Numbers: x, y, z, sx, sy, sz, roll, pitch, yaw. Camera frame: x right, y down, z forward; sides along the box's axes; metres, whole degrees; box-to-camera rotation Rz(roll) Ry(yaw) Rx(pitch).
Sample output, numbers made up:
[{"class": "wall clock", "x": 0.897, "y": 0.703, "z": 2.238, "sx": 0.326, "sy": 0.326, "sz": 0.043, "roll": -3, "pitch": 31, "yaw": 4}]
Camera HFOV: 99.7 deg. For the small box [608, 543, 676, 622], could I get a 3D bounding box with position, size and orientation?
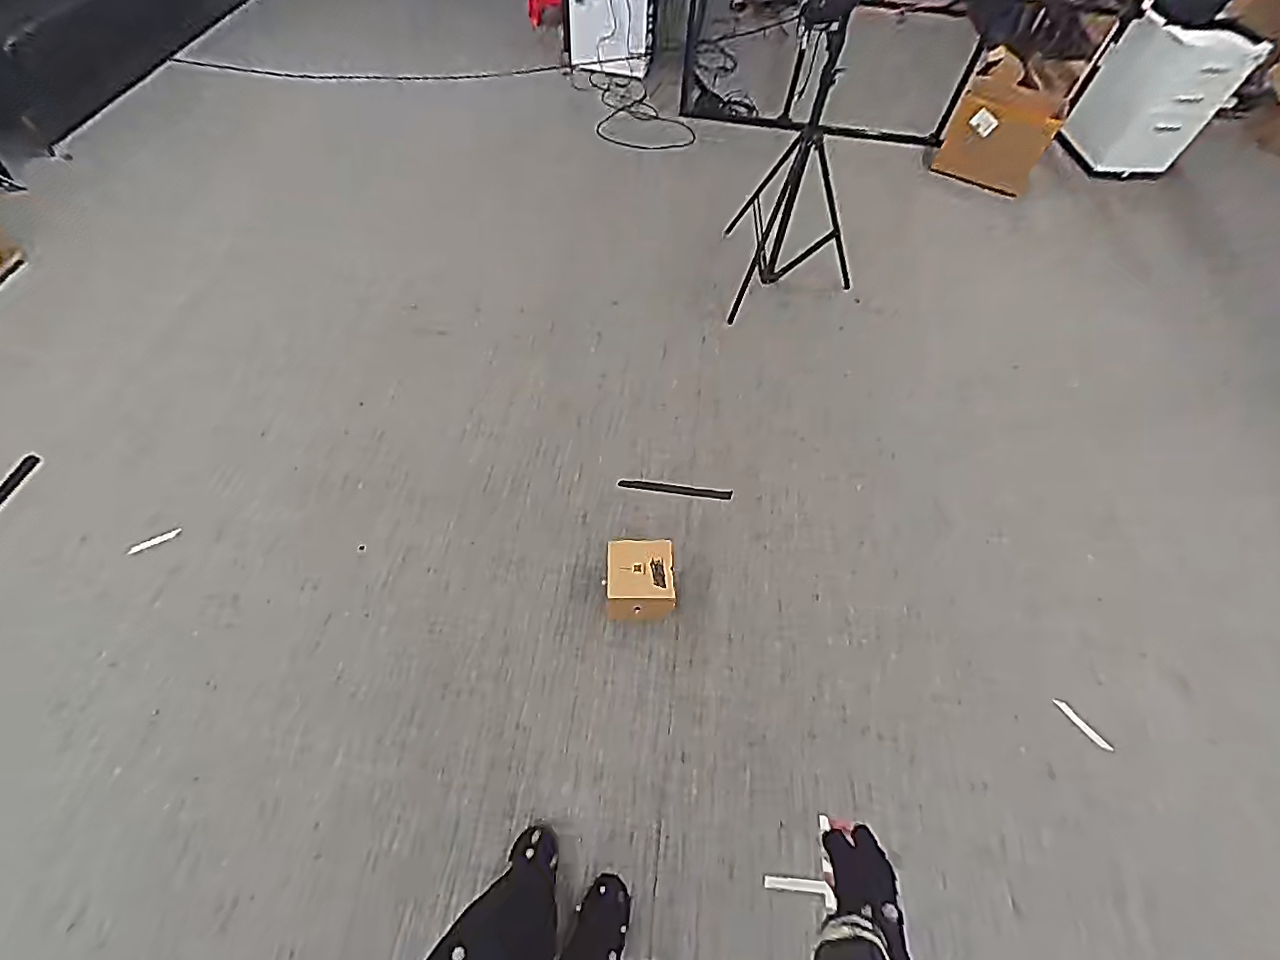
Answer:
[{"class": "small box", "x": 0.002, "y": 0.282, "z": 1.478, "sx": 0.179, "sy": 0.176, "sz": 0.168, "roll": 0, "pitch": 57, "yaw": -2}]
